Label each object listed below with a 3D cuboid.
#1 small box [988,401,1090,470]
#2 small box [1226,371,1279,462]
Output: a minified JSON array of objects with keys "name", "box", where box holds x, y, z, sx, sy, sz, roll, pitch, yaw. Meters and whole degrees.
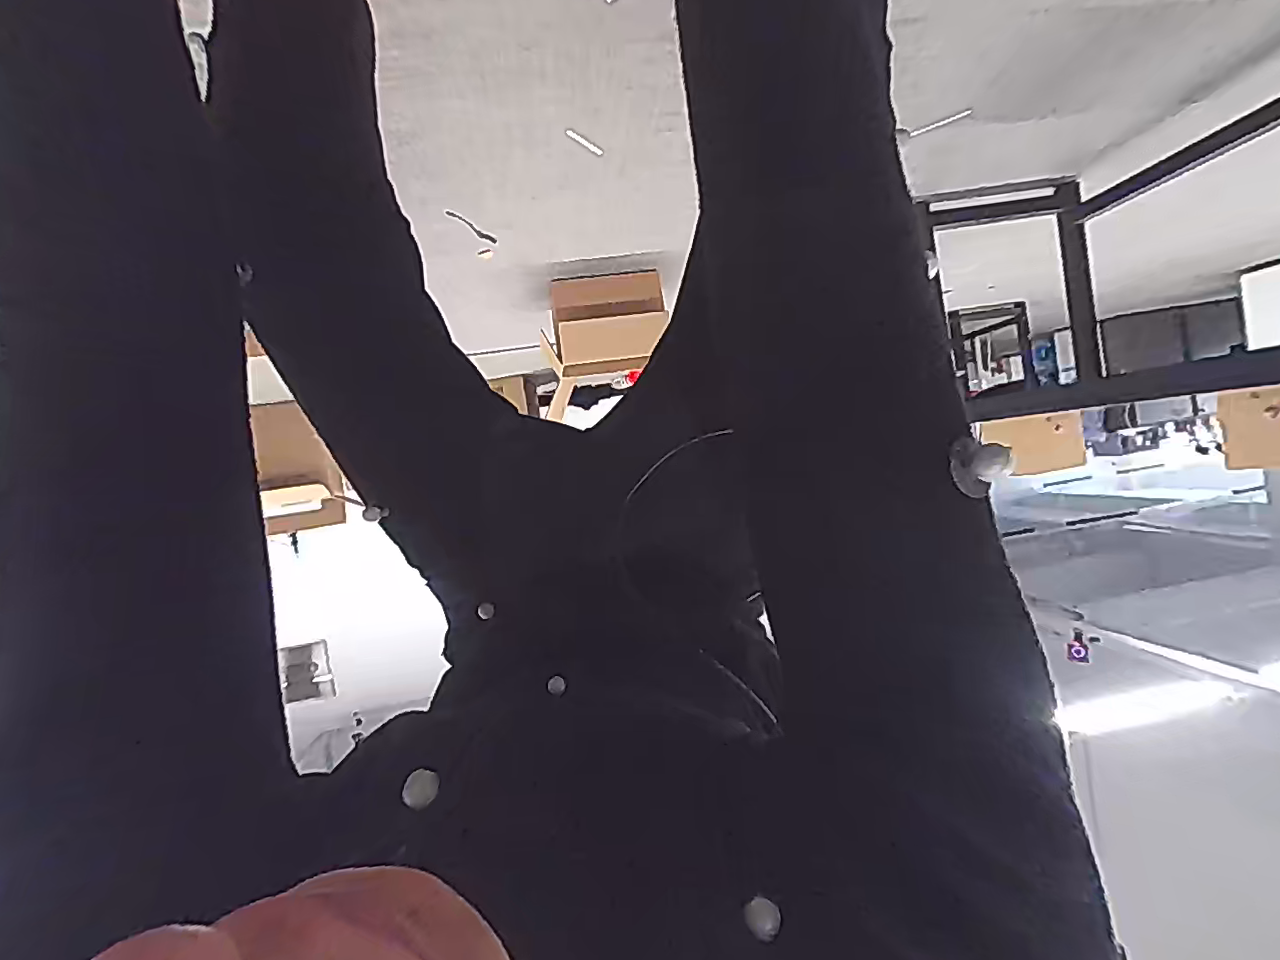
[{"name":"small box","box":[1.137,-0.127,1.554,0.168,0.176,0.179,-10,-179,-8]},{"name":"small box","box":[1.286,-0.133,1.031,0.179,0.176,0.168,-10,-178,-12]}]
